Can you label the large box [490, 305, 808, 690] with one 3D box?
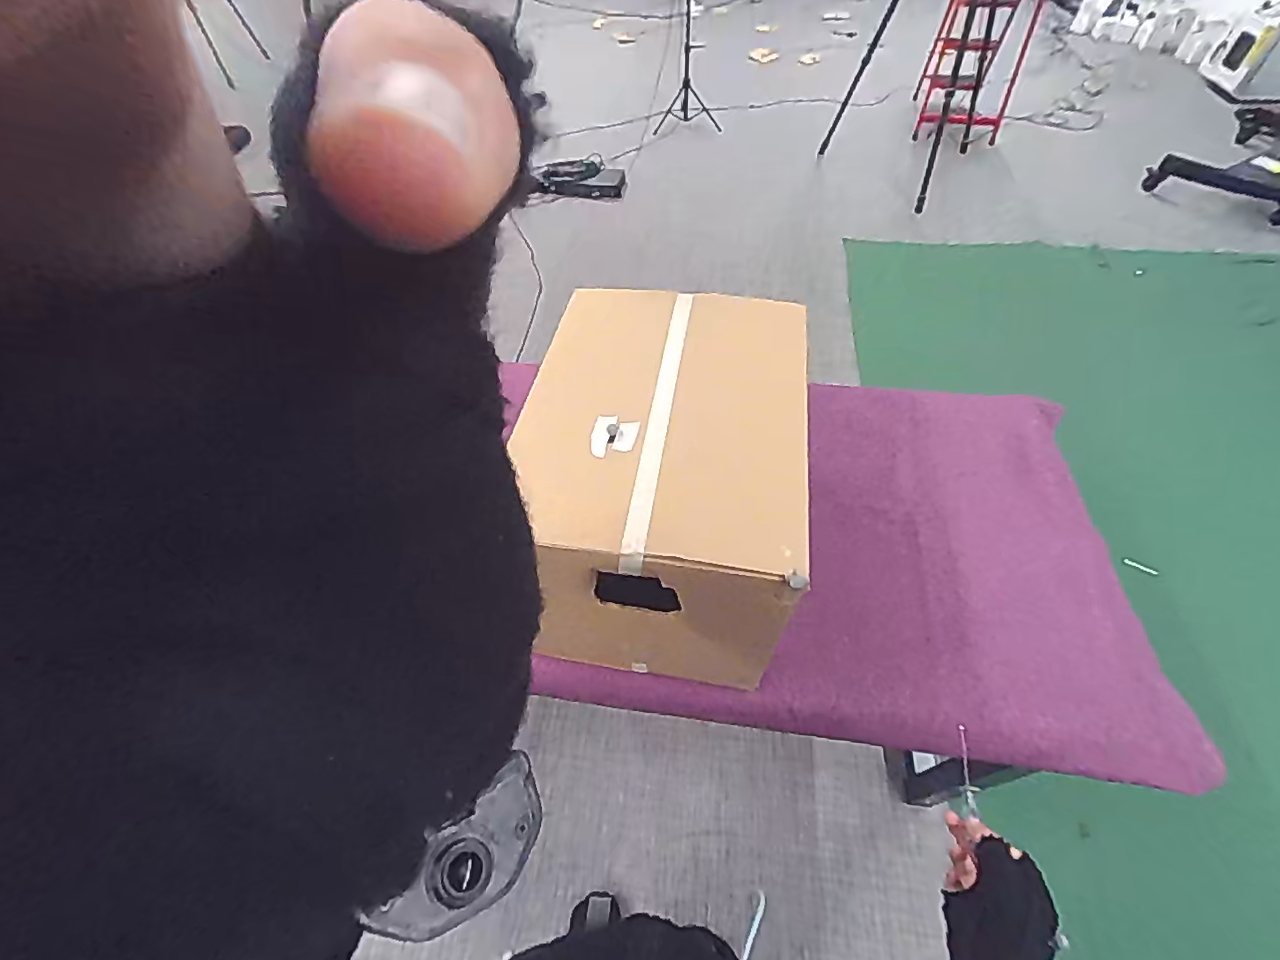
[{"bbox_3d":[0.037,0.019,0.741,0.320,0.320,0.408,7,53,8],"label":"large box"}]
